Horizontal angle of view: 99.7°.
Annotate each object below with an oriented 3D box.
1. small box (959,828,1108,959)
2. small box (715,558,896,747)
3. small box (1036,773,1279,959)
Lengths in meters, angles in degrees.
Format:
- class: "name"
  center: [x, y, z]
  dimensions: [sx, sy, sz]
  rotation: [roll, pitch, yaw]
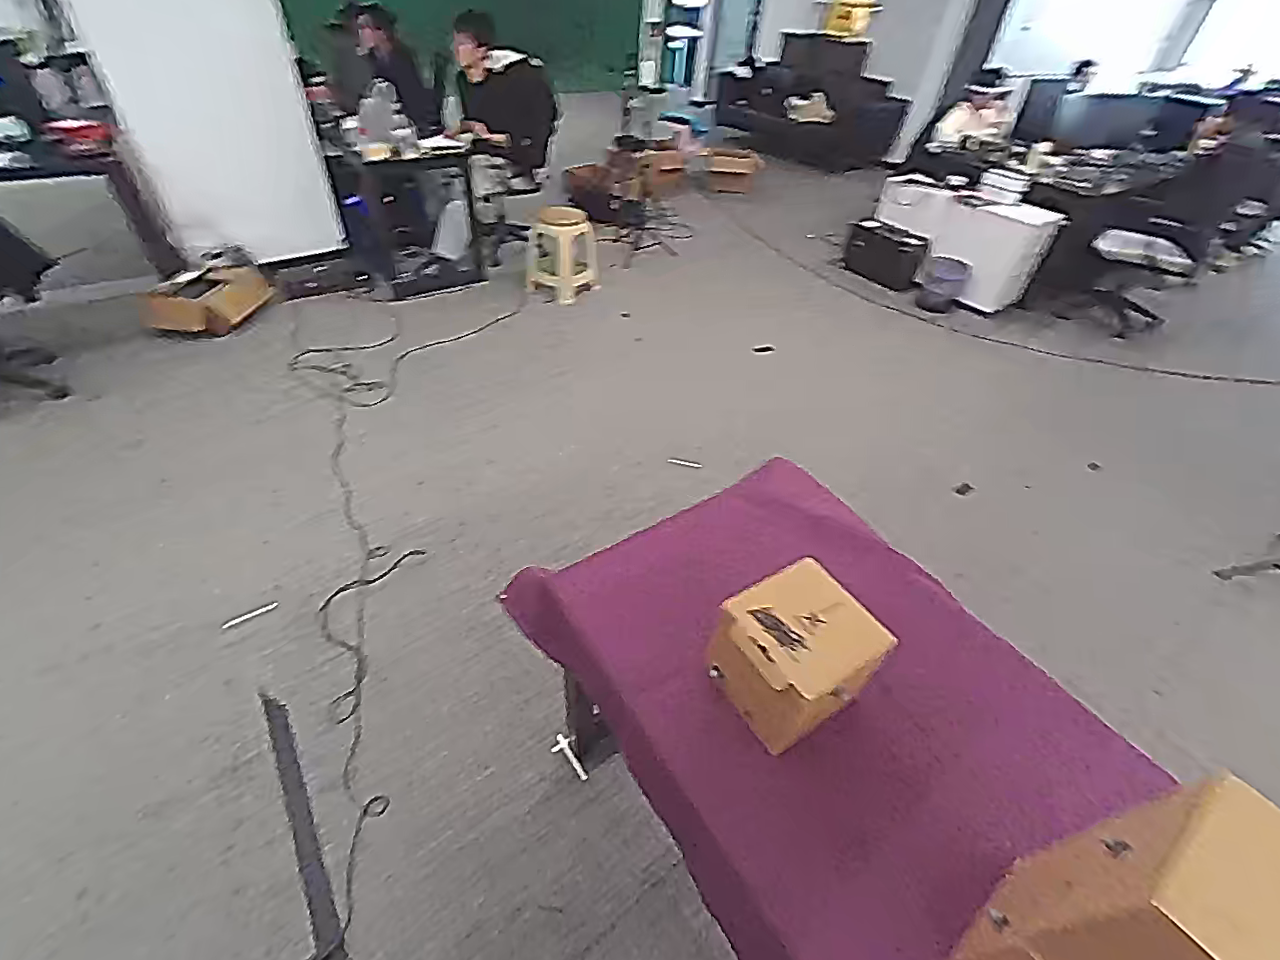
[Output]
- class: "small box"
  center: [0.463, 0.506, 0.547]
  dimensions: [0.179, 0.176, 0.168]
  rotation: [-23, 51, -28]
- class: "small box"
  center: [0.225, 0.252, 0.789]
  dimensions: [0.179, 0.176, 0.168]
  rotation: [-20, 49, -26]
- class: "small box"
  center: [0.477, 0.387, 0.434]
  dimensions: [0.168, 0.176, 0.179]
  rotation: [-23, 51, -26]
